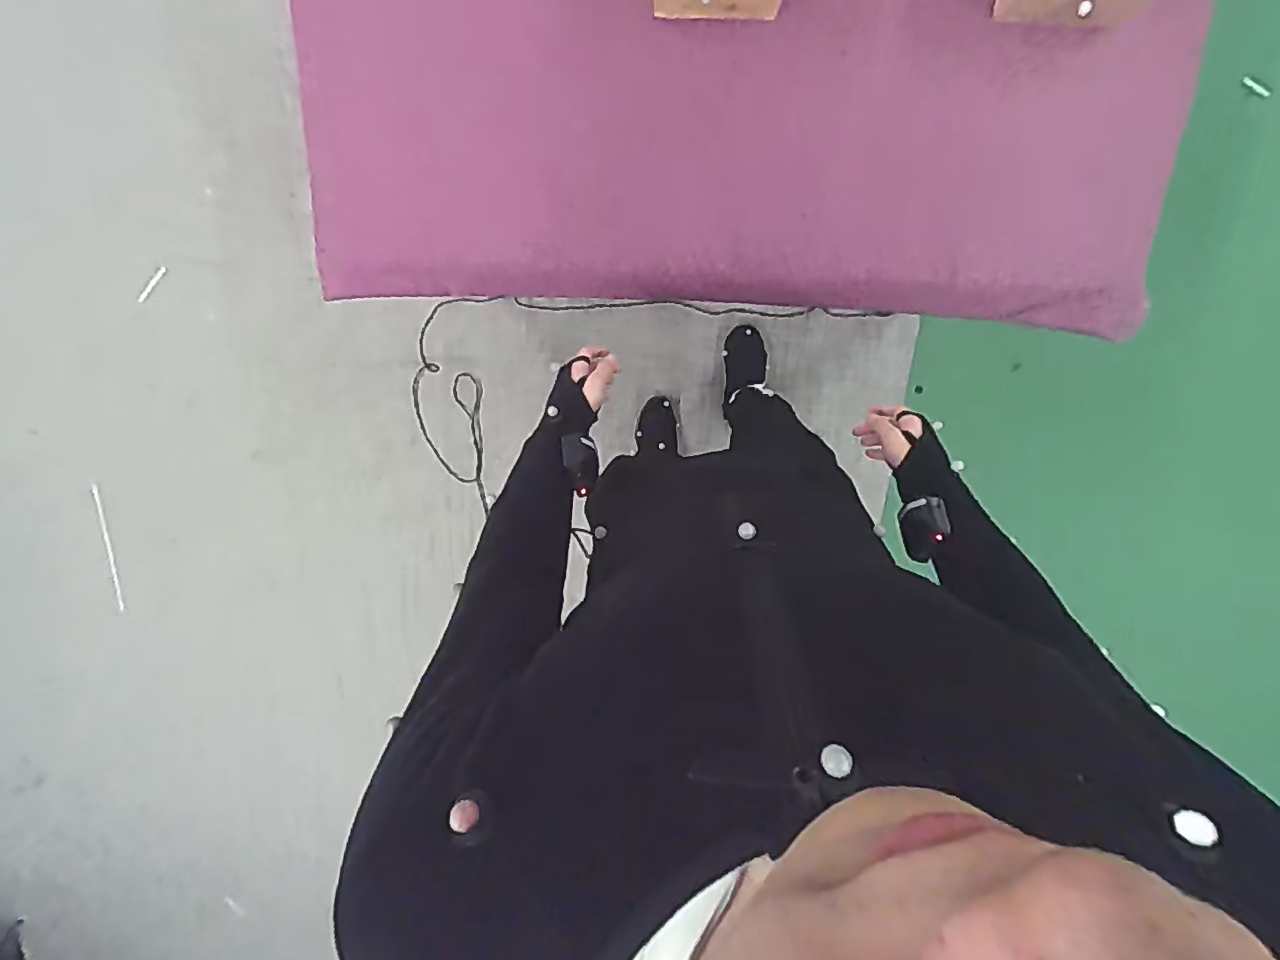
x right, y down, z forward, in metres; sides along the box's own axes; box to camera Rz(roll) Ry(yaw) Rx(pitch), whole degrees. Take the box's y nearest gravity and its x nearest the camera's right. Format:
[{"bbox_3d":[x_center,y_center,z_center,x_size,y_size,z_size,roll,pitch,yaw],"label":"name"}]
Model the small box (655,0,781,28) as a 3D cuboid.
[{"bbox_3d":[0.099,-0.676,0.628,0.168,0.176,0.179,3,105,2],"label":"small box"}]
